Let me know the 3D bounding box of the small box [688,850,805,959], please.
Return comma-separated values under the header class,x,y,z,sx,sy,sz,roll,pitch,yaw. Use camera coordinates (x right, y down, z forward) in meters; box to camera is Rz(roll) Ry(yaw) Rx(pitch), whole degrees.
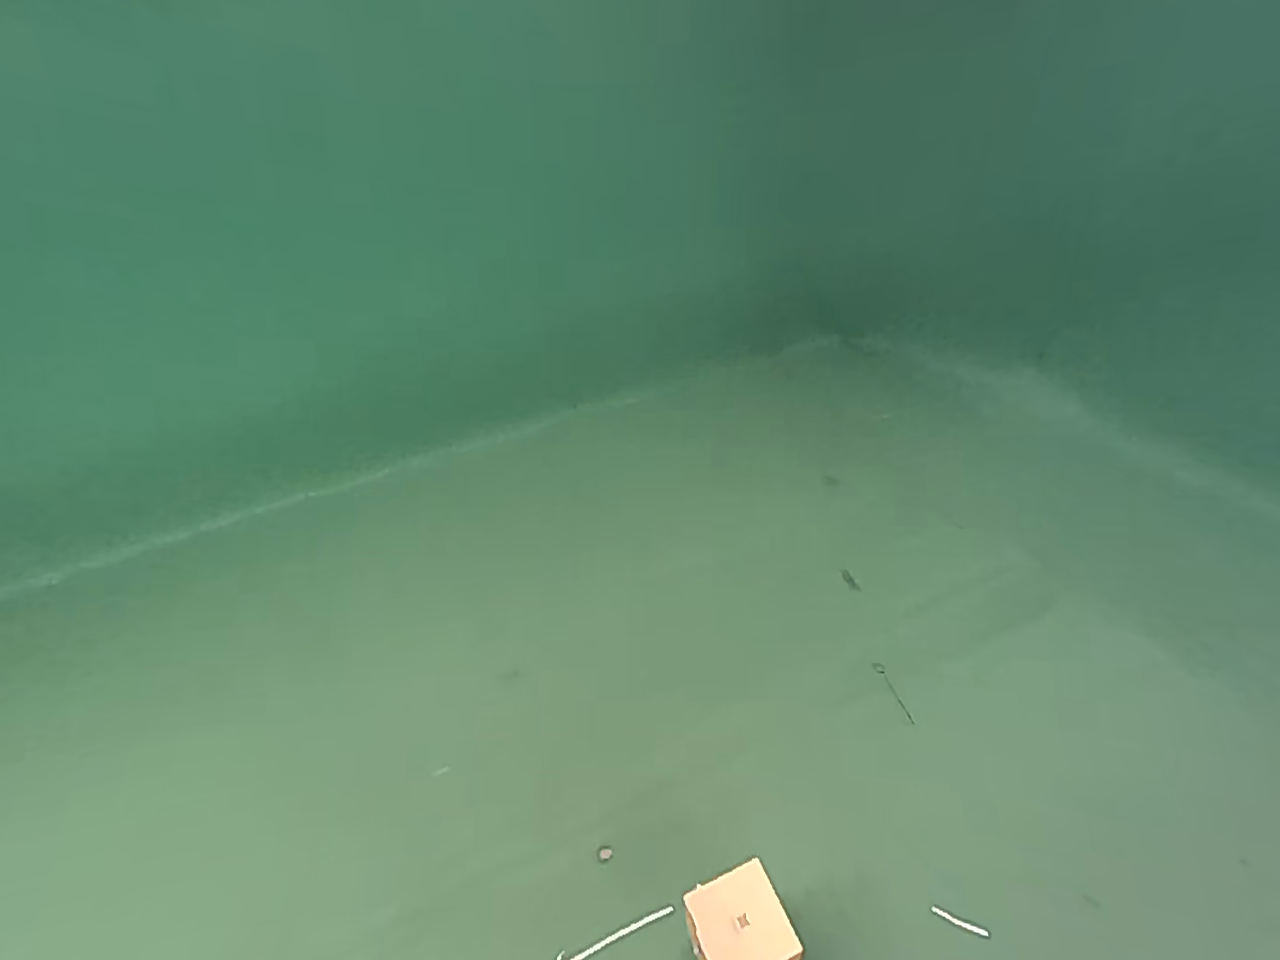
class,x,y,z,sx,sy,sz,roll,pitch,yaw
small box,0.212,0.908,1.110,0.179,0.176,0.168,-19,40,-13
